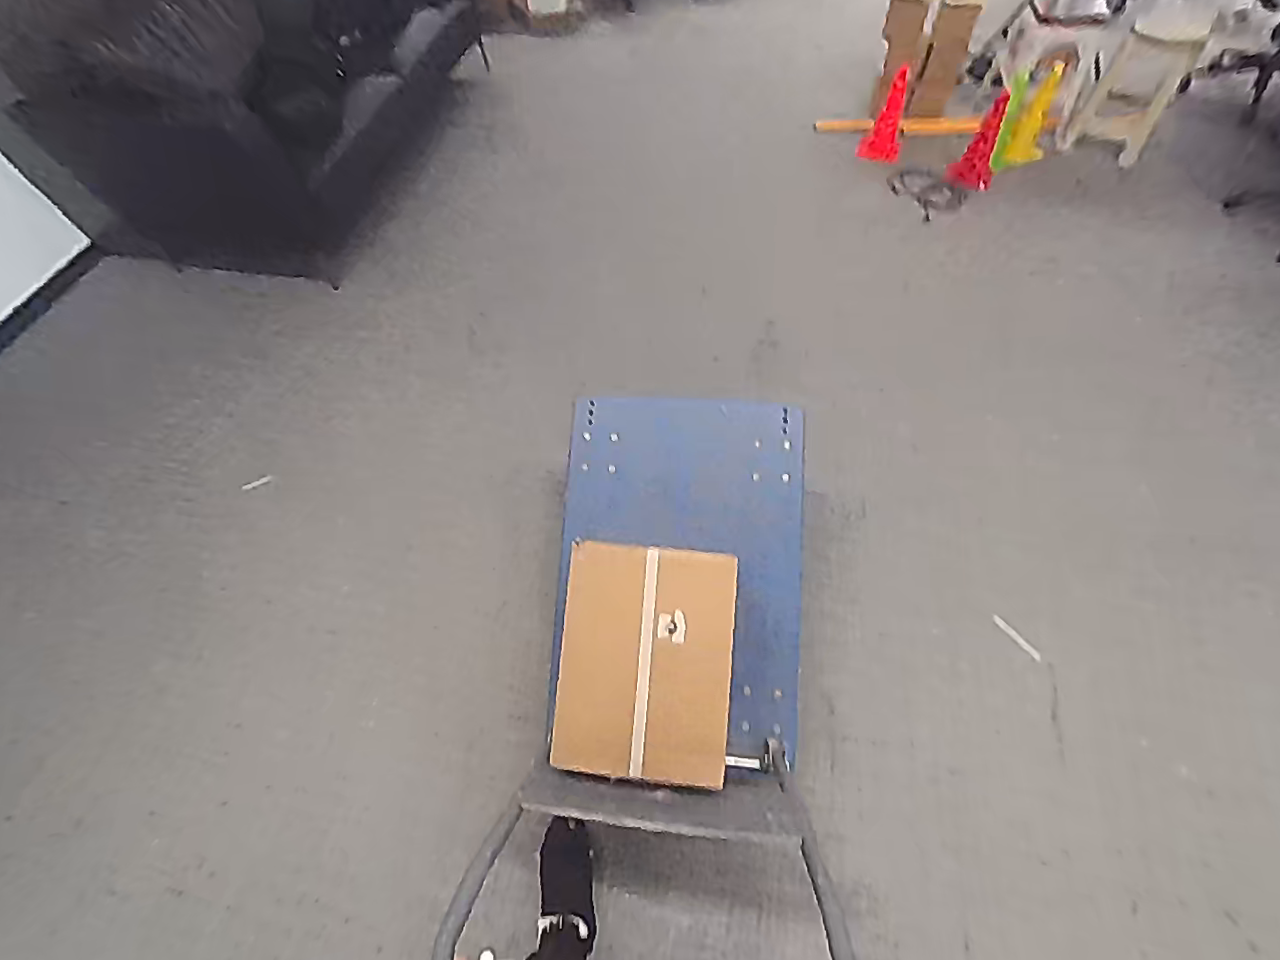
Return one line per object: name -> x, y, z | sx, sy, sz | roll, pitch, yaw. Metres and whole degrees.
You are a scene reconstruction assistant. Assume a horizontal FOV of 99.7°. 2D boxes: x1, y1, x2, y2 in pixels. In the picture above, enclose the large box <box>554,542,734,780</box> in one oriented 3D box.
large box -> 0.024, 0.346, 1.135 | 0.320, 0.320, 0.408 | 4, 82, 6
